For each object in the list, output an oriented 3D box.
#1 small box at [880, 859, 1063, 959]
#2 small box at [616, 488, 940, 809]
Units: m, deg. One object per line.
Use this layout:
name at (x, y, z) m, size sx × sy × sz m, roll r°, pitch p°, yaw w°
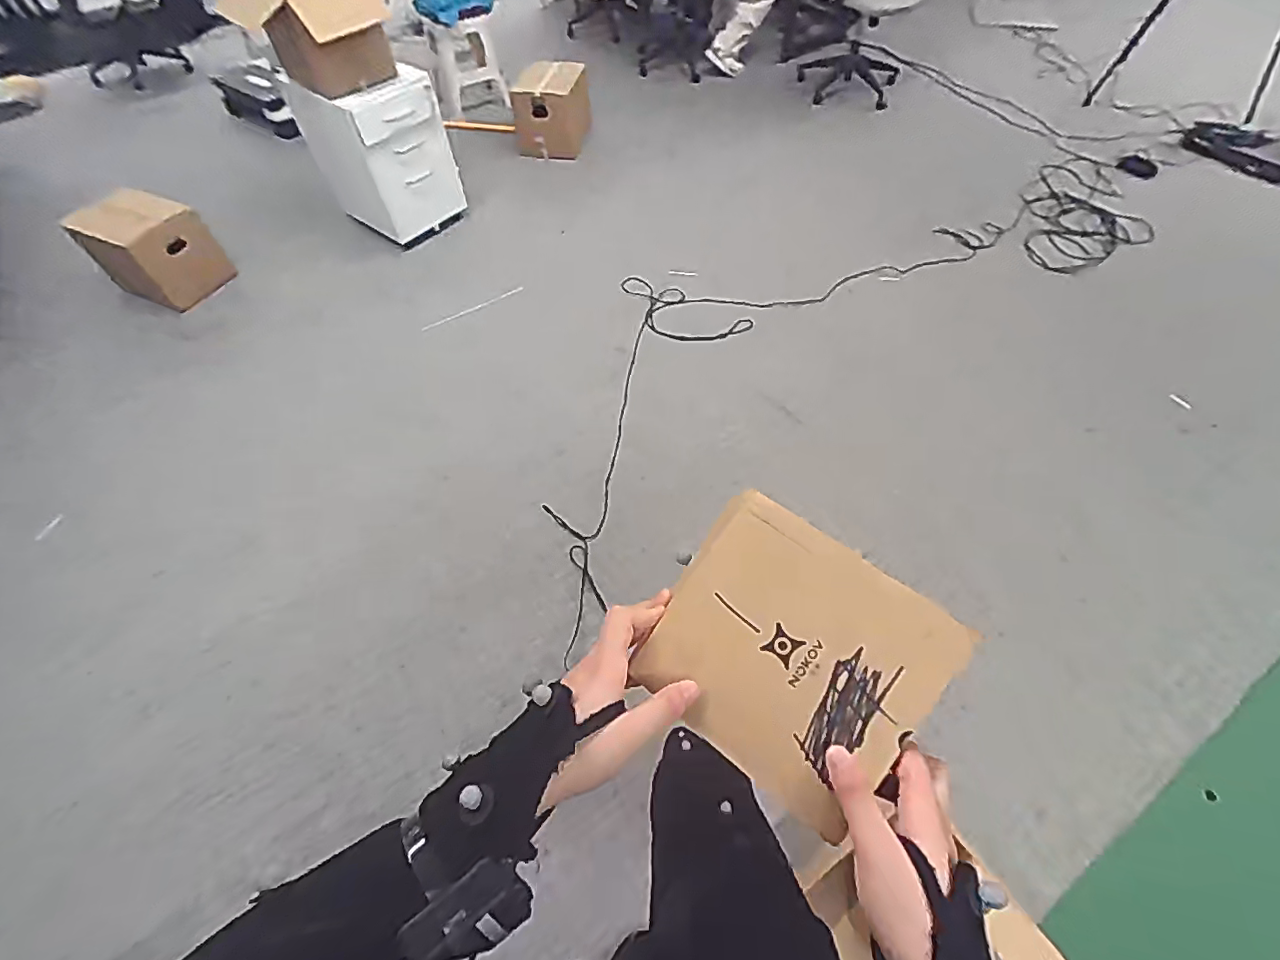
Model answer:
small box at (0.524, 0.753, 0.869) m, size 0.168 × 0.176 × 0.179 m, roll -31°, pitch 59°, yaw -18°
small box at (0.104, 0.124, 0.468) m, size 0.179 × 0.176 × 0.168 m, roll 35°, pitch 88°, yaw 8°
